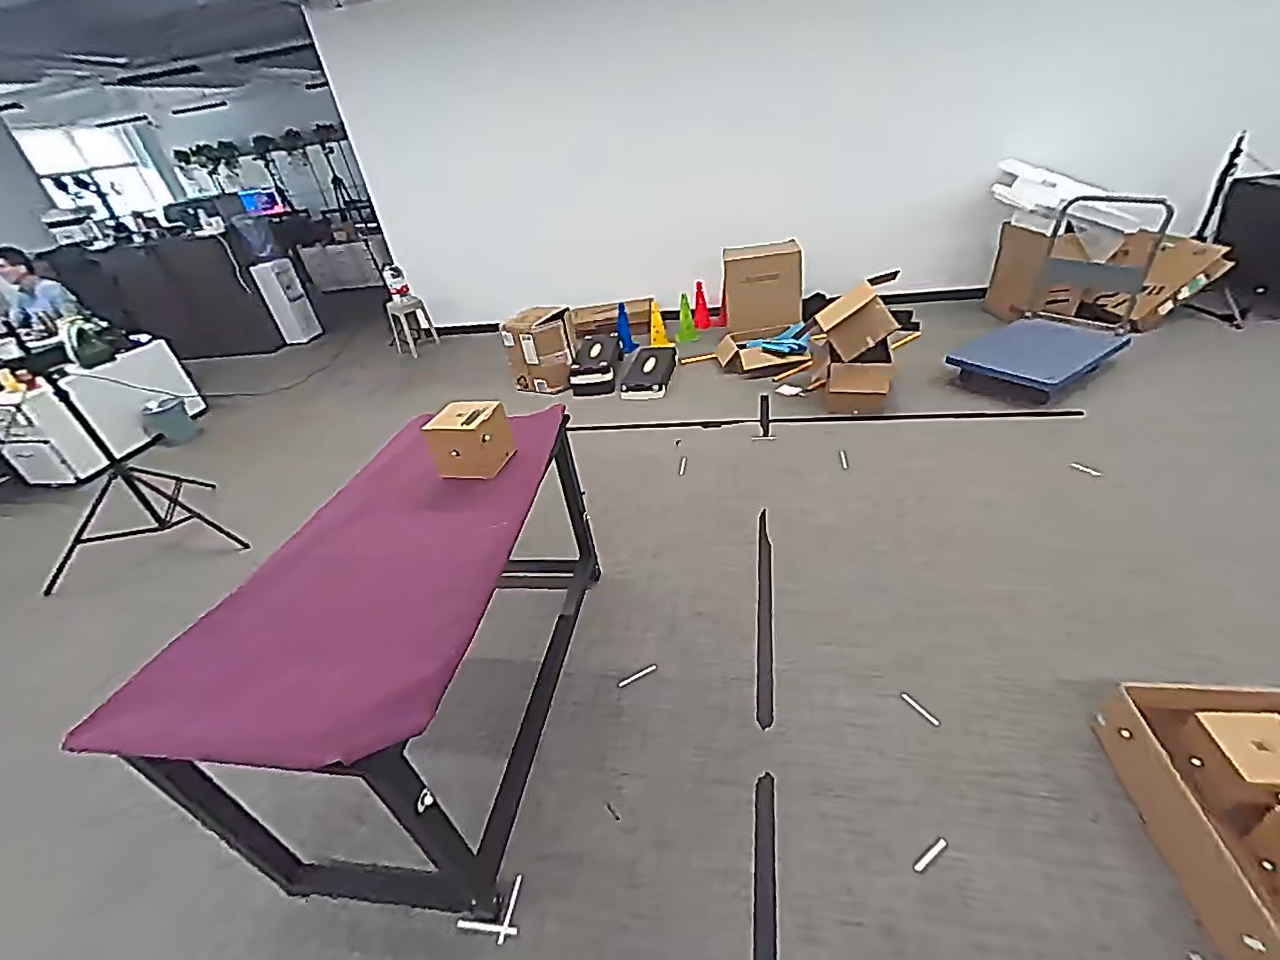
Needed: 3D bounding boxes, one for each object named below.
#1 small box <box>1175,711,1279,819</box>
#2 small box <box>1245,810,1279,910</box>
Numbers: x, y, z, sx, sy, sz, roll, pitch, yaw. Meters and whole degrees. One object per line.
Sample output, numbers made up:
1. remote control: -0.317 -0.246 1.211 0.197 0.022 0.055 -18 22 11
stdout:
1. small box: 1.404 0.660 1.251 0.179 0.176 0.168 -2 36 10
2. small box: 1.392 0.786 1.073 0.179 0.176 0.168 1 34 16
